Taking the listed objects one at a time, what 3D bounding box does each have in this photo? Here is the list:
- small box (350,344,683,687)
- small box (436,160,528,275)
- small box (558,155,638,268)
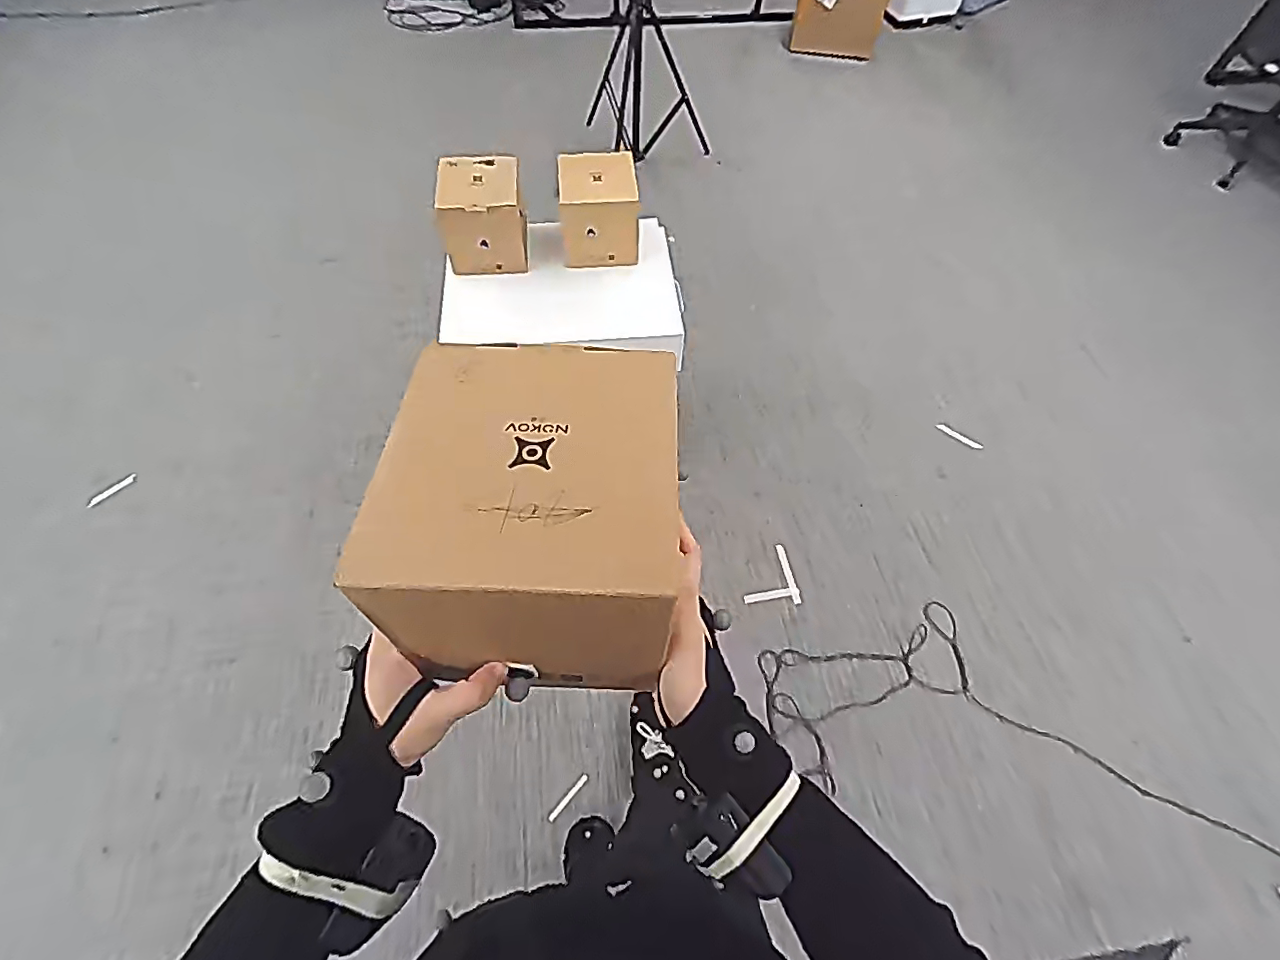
[{"bbox_3d":[-0.061,0.029,0.375,0.168,0.176,0.179,1,54,0],"label":"small box"},{"bbox_3d":[-0.342,-0.576,1.201,0.168,0.176,0.179,-4,62,-6],"label":"small box"},{"bbox_3d":[-0.093,-0.600,1.224,0.168,0.176,0.179,-5,61,-4],"label":"small box"}]
